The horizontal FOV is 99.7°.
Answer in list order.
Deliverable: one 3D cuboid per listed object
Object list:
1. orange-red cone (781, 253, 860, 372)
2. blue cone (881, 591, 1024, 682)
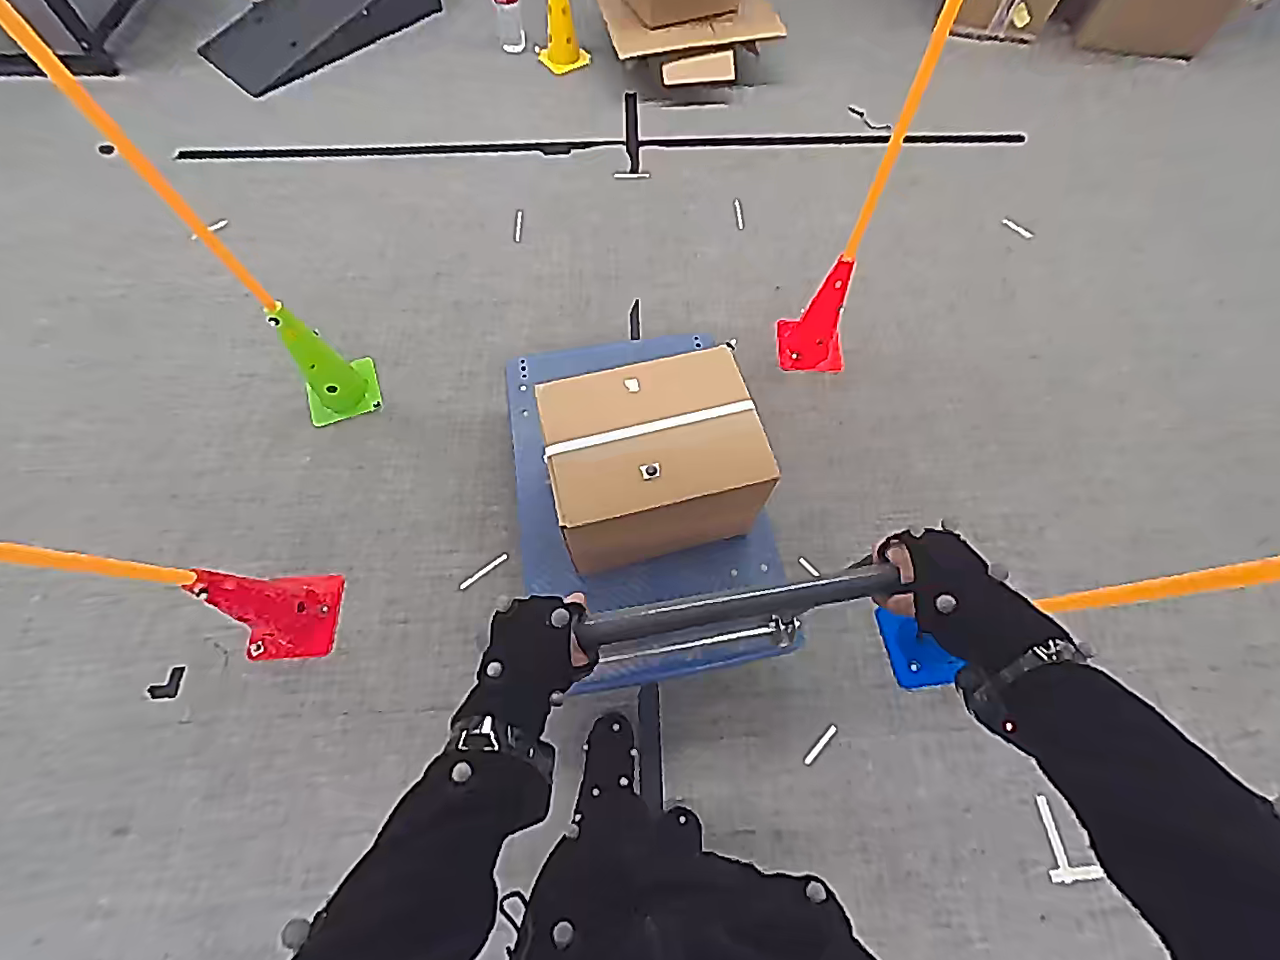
[{"bbox_3d":[0.547,-0.499,1.549,0.199,0.360,0.198,5,65,0],"label":"orange-red cone"},{"bbox_3d":[0.706,0.318,1.179,0.193,0.380,0.192,-5,64,-4],"label":"blue cone"}]
